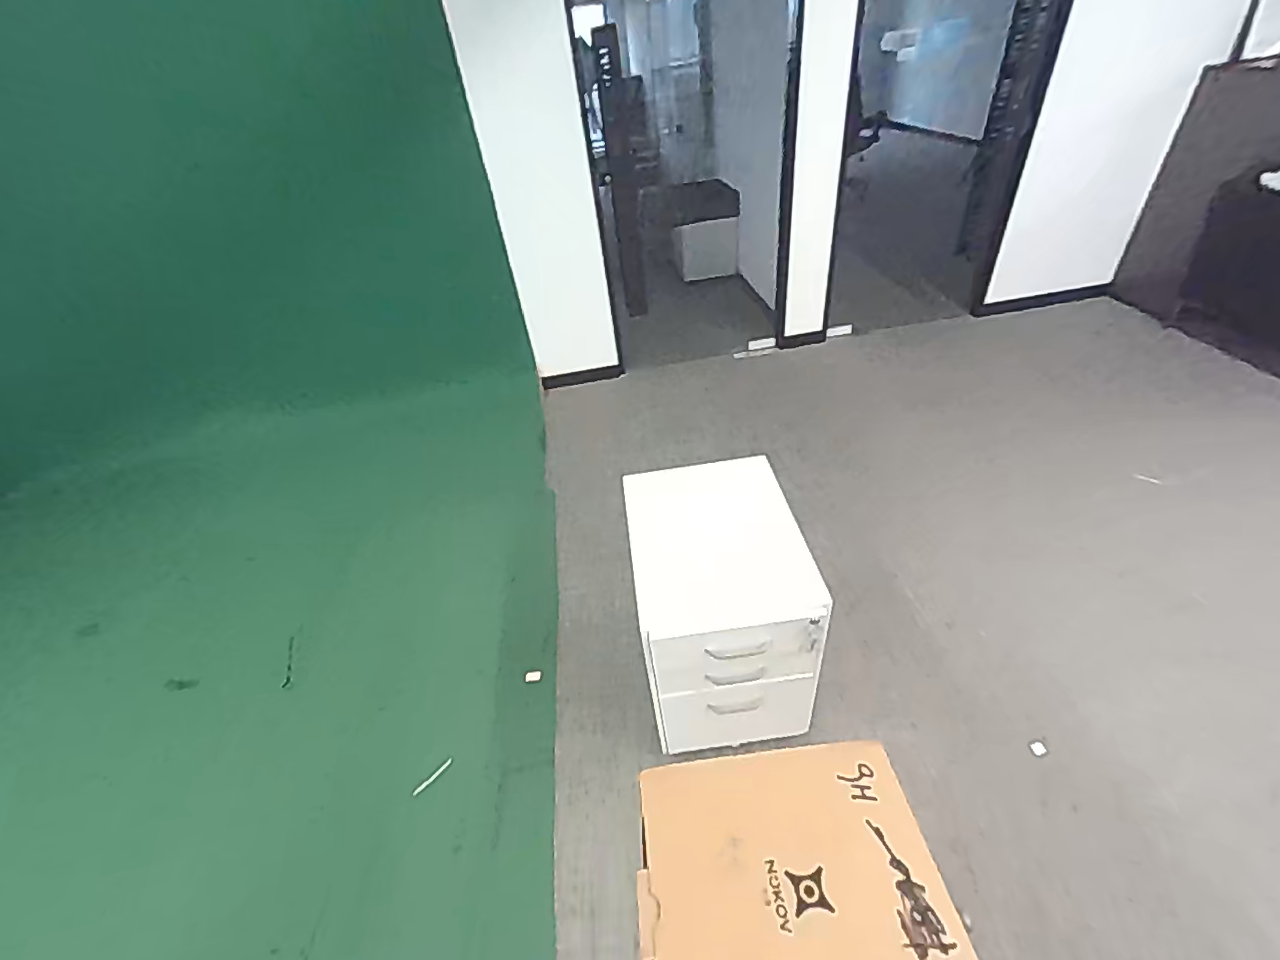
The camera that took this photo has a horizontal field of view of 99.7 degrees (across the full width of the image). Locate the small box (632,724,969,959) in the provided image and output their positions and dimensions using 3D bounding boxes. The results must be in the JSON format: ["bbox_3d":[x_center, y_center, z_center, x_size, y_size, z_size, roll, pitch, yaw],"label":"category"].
[{"bbox_3d":[0.092,0.299,0.373,0.179,0.176,0.168,-6,35,0],"label":"small box"}]
